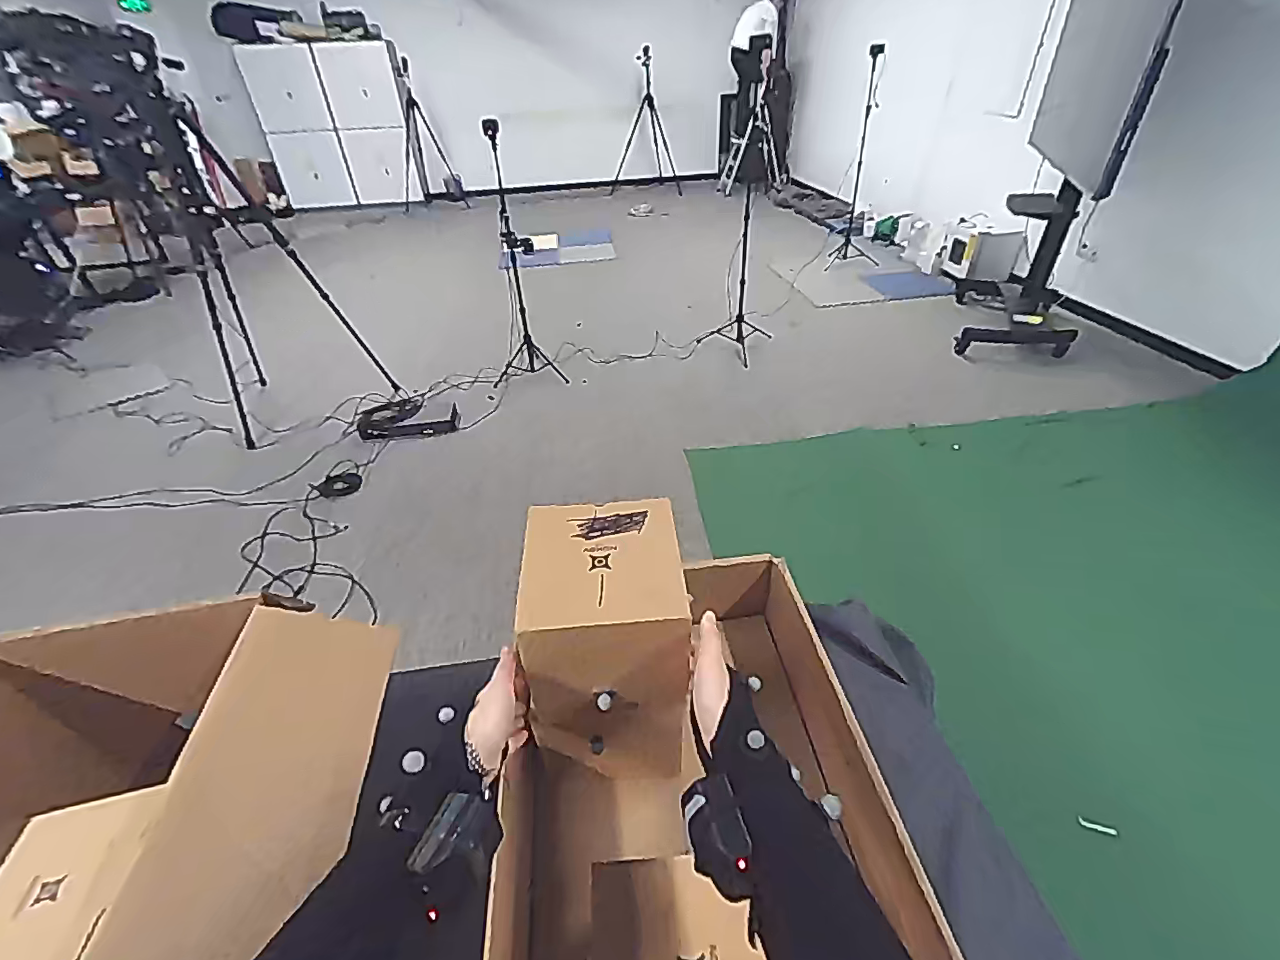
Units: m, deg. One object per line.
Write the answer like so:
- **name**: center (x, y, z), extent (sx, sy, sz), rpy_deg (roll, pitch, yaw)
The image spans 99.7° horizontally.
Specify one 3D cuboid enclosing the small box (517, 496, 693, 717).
- **small box**: center (-0.036, 0.141, 0.613), extent (0.168, 0.176, 0.179), rpy_deg (-4, 40, -2)
